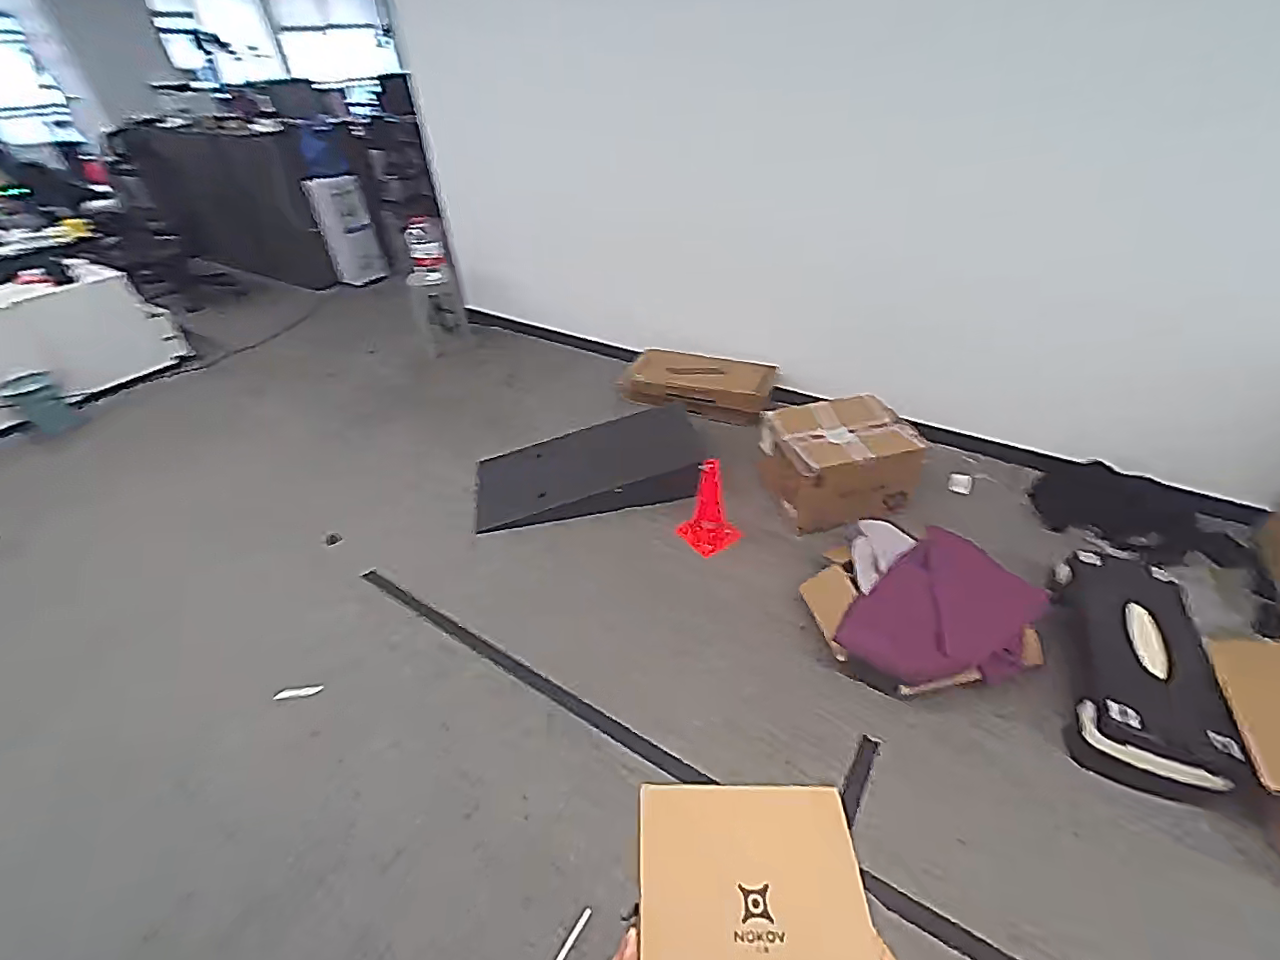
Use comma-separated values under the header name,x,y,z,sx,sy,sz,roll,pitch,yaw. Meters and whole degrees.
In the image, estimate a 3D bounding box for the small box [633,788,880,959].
name,x,y,z,sx,sy,sz,roll,pitch,yaw
small box,0.078,0.371,0.431,0.168,0.176,0.179,0,41,-1
